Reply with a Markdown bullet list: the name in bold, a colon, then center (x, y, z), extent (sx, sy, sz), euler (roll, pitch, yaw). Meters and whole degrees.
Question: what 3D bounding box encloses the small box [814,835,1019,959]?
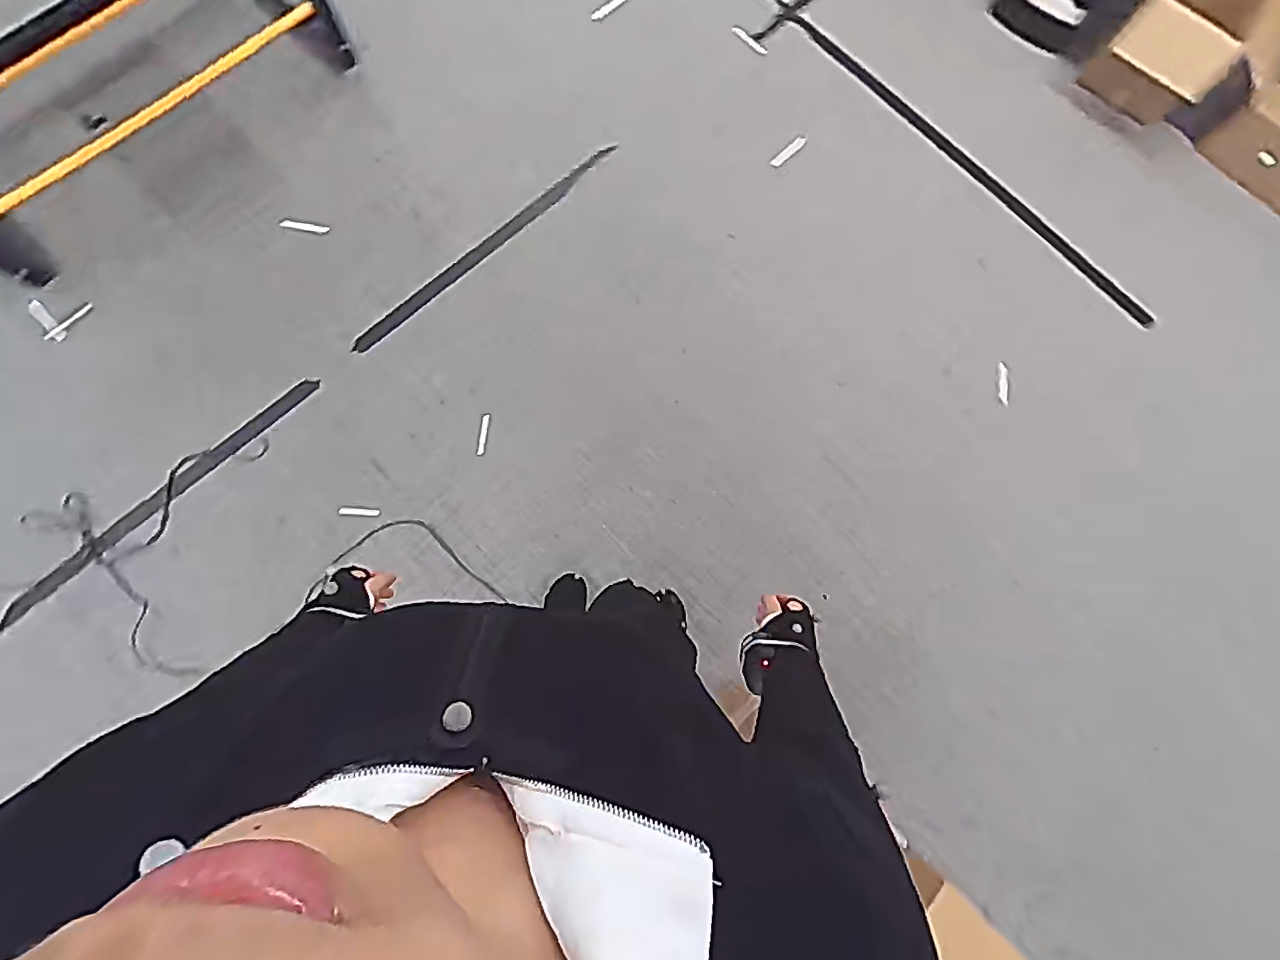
- **small box**: center (0.368, 0.622, 0.713), extent (0.179, 0.176, 0.168), euler (44, 78, 8)
